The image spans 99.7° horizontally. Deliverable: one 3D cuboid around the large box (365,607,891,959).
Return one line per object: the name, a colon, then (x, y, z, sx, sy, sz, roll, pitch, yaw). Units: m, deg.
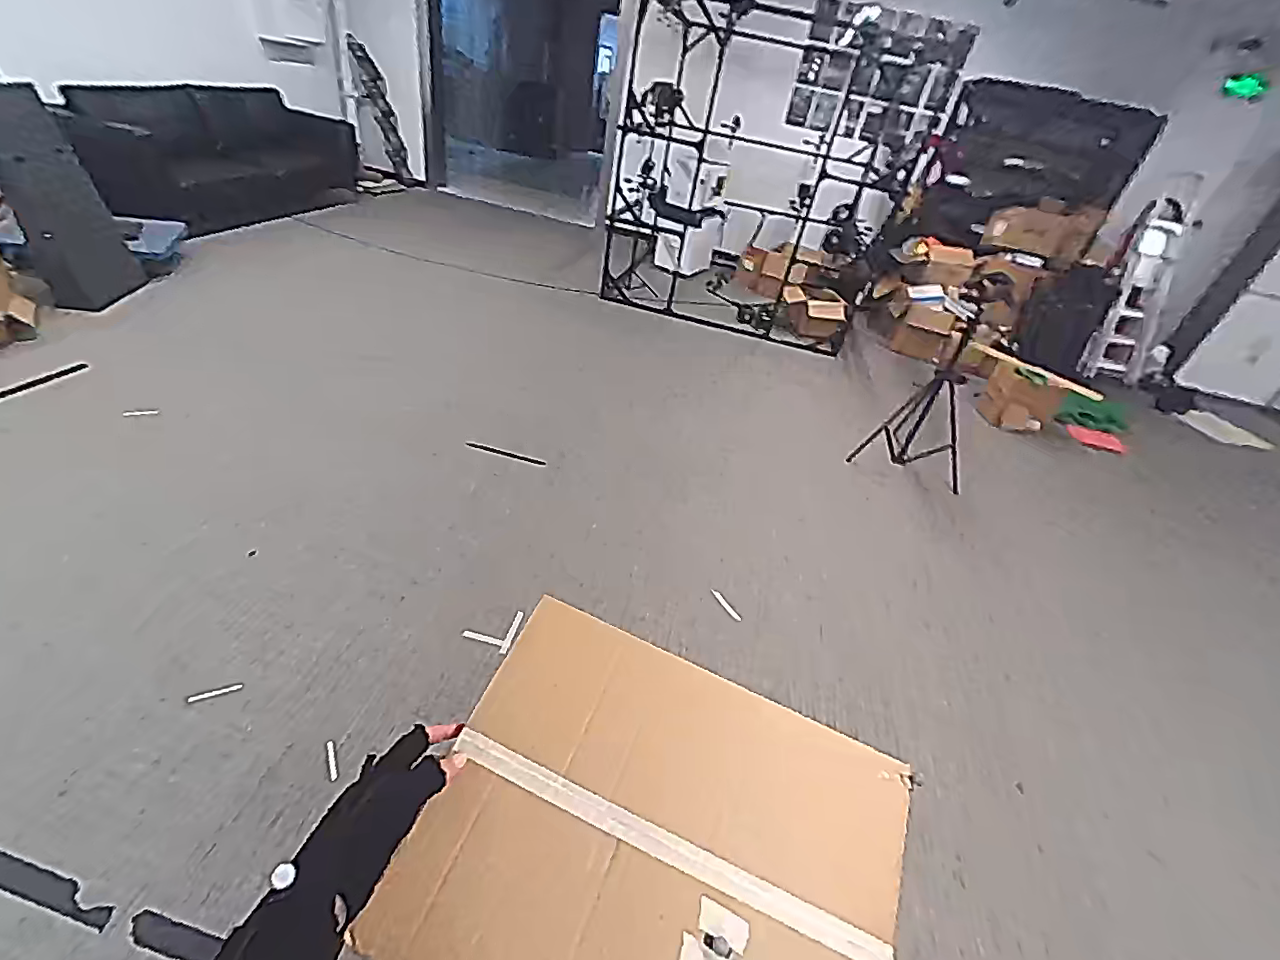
large box: (-0.003, 0.408, 0.606, 0.408, 0.320, 0.320, 23, 55, 8)
